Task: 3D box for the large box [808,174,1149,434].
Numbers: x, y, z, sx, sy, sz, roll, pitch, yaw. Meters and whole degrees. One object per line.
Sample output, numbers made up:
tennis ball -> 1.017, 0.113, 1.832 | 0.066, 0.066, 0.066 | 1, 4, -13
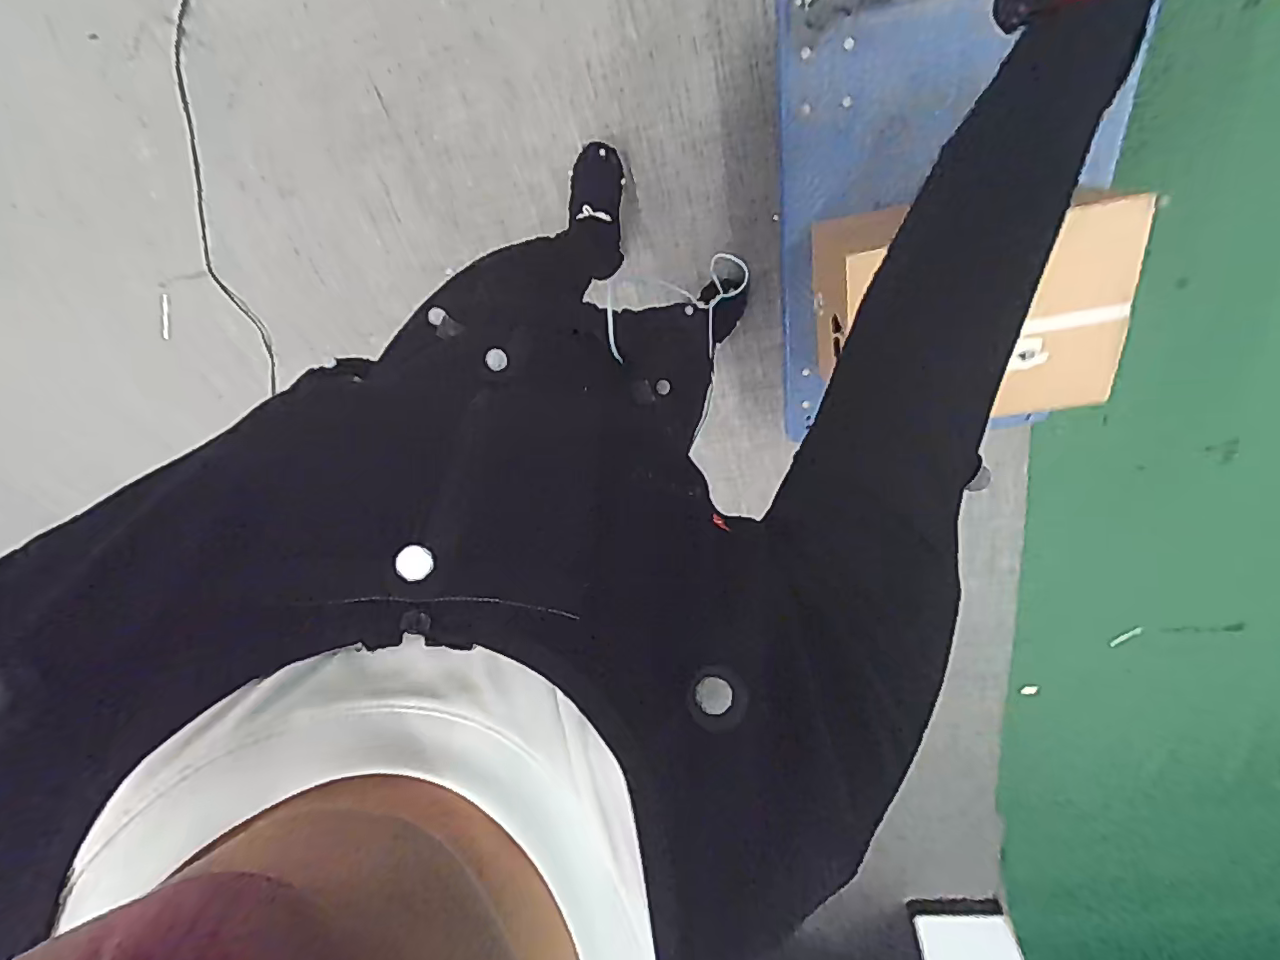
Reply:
large box -> 0.541, -0.318, 0.964 | 0.408, 0.320, 0.320 | -9, 123, 11
